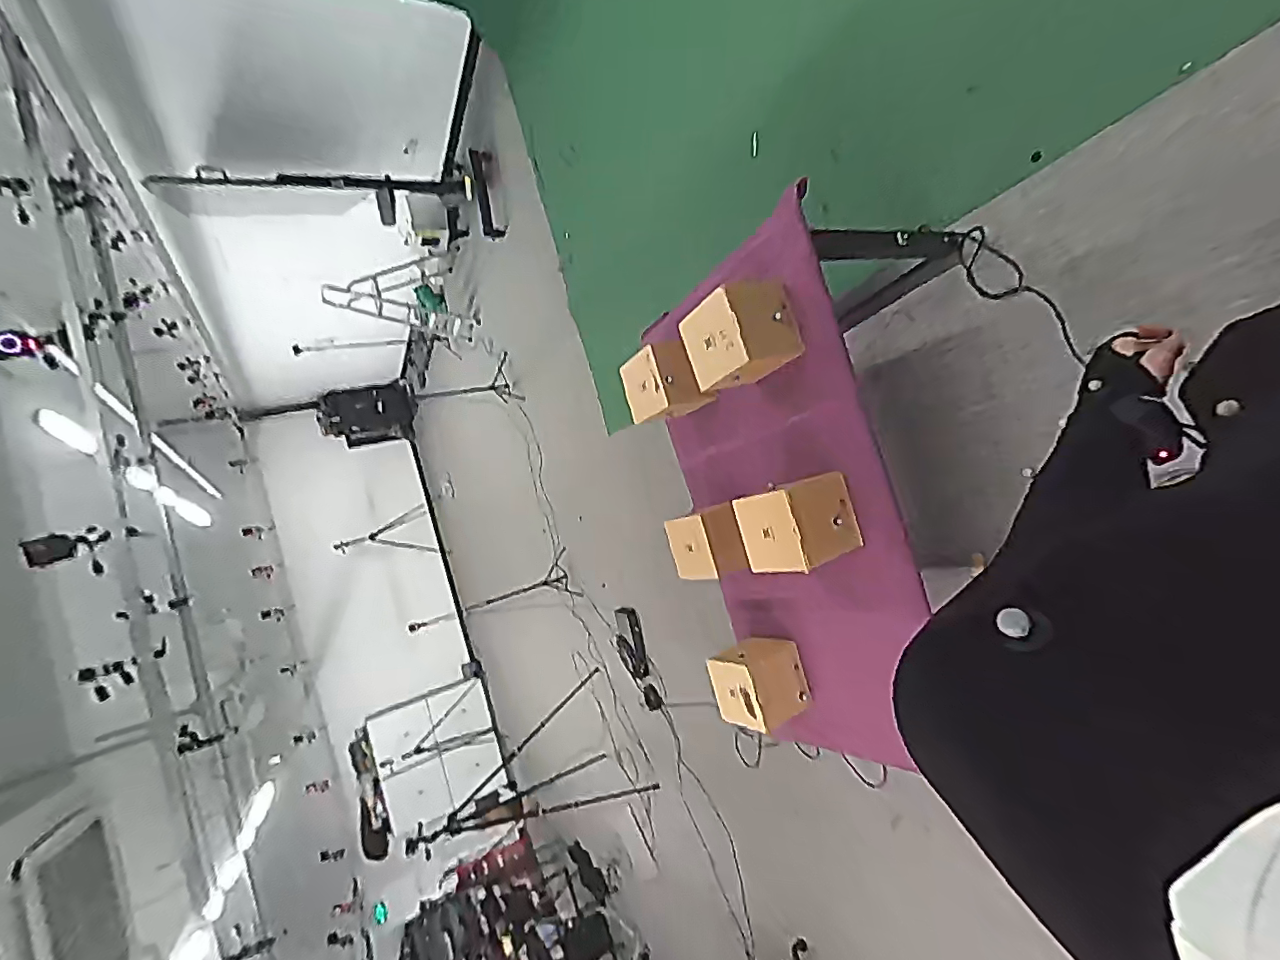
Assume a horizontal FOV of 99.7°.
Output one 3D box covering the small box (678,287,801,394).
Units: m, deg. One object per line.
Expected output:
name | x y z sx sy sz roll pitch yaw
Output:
small box | 0.217 -0.304 1.184 0.179 0.176 0.168 -25 84 59

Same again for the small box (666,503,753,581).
small box | 0.201 0.164 1.436 0.179 0.176 0.168 -19 88 58

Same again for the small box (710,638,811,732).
small box | 0.318 0.522 1.402 0.179 0.176 0.168 -22 84 58

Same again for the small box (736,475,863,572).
small box | 0.343 0.096 1.172 0.179 0.176 0.168 -21 85 60

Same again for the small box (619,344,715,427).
small box | 0.072 -0.253 1.448 0.179 0.176 0.168 -22 86 59
